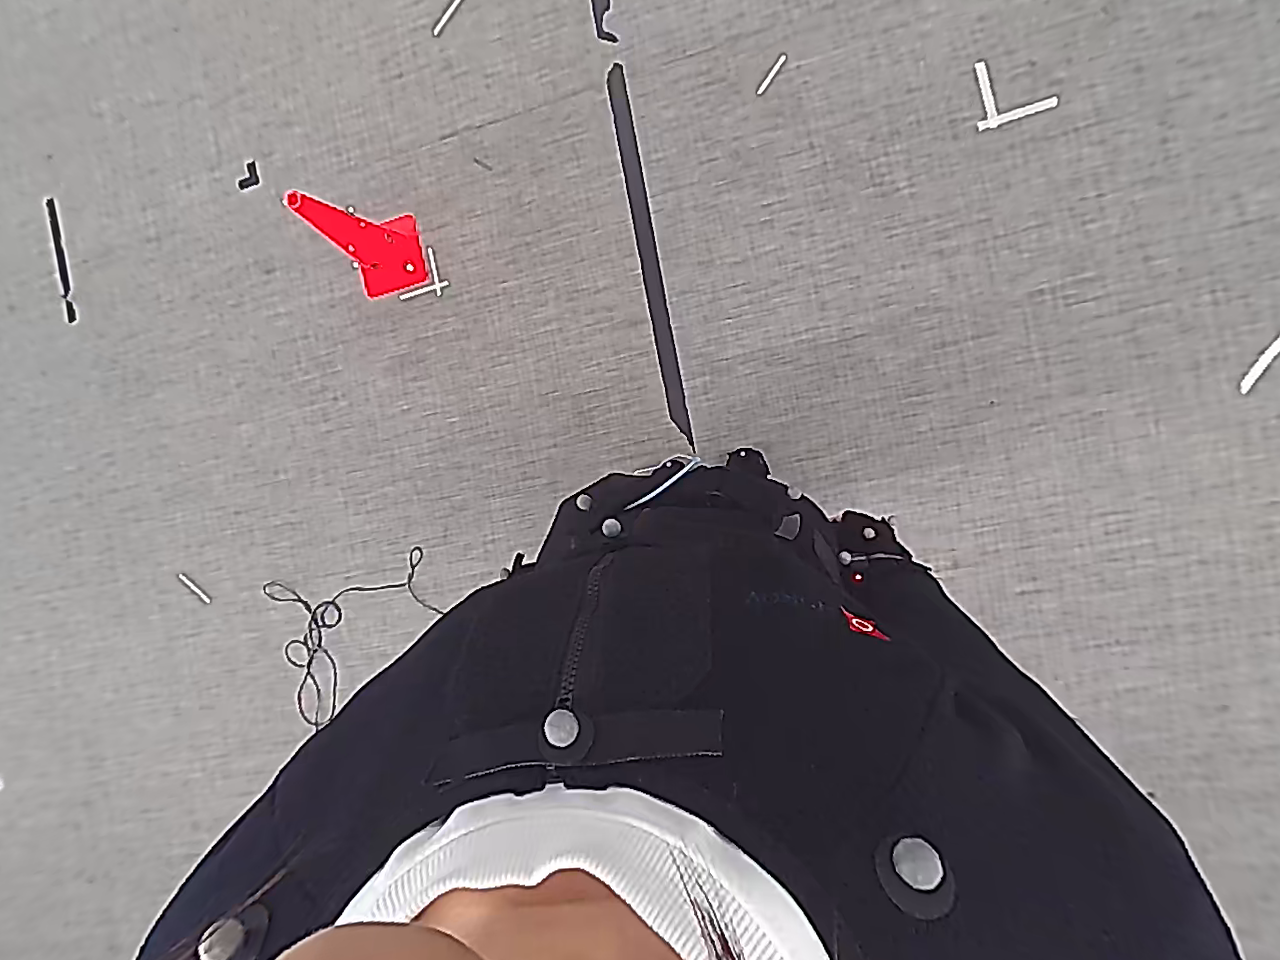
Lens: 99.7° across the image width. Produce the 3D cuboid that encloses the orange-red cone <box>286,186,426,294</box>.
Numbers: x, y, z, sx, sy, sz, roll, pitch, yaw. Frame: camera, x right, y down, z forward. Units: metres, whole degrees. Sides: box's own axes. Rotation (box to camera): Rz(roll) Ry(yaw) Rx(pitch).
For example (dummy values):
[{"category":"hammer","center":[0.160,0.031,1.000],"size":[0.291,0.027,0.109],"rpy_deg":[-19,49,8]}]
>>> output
[{"category":"orange-red cone","center":[-0.736,-0.636,1.362],"size":[0.198,0.360,0.199],"rpy_deg":[-12,89,9]}]
